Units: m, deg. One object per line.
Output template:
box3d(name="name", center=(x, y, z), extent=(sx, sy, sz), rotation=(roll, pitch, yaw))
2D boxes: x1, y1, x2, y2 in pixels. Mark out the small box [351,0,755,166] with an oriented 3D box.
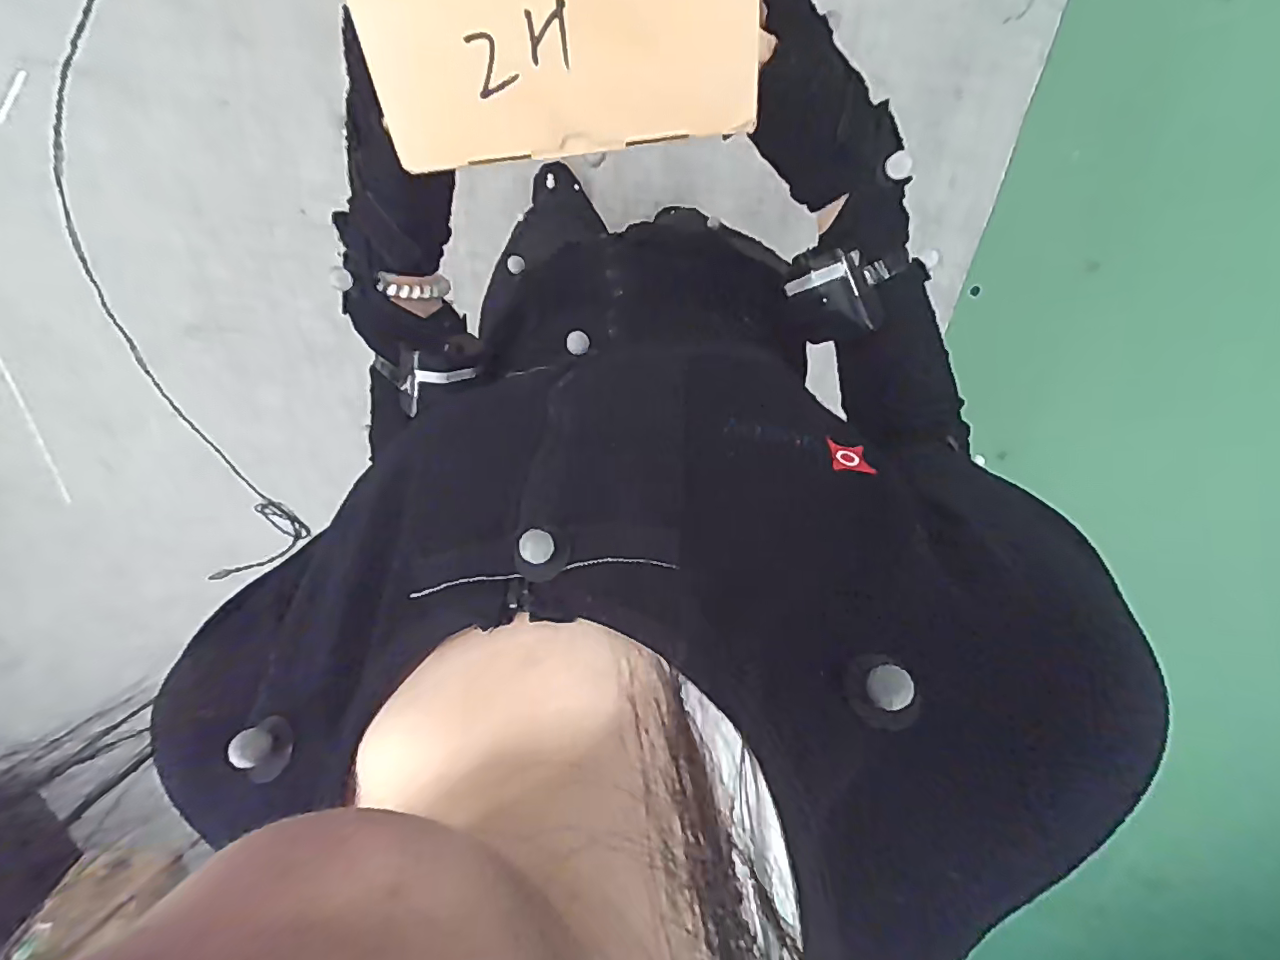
box3d(name="small box", center=(-0.040, -0.270, 0.263), extent=(0.168, 0.176, 0.179), rotation=(-6, 127, 4))
